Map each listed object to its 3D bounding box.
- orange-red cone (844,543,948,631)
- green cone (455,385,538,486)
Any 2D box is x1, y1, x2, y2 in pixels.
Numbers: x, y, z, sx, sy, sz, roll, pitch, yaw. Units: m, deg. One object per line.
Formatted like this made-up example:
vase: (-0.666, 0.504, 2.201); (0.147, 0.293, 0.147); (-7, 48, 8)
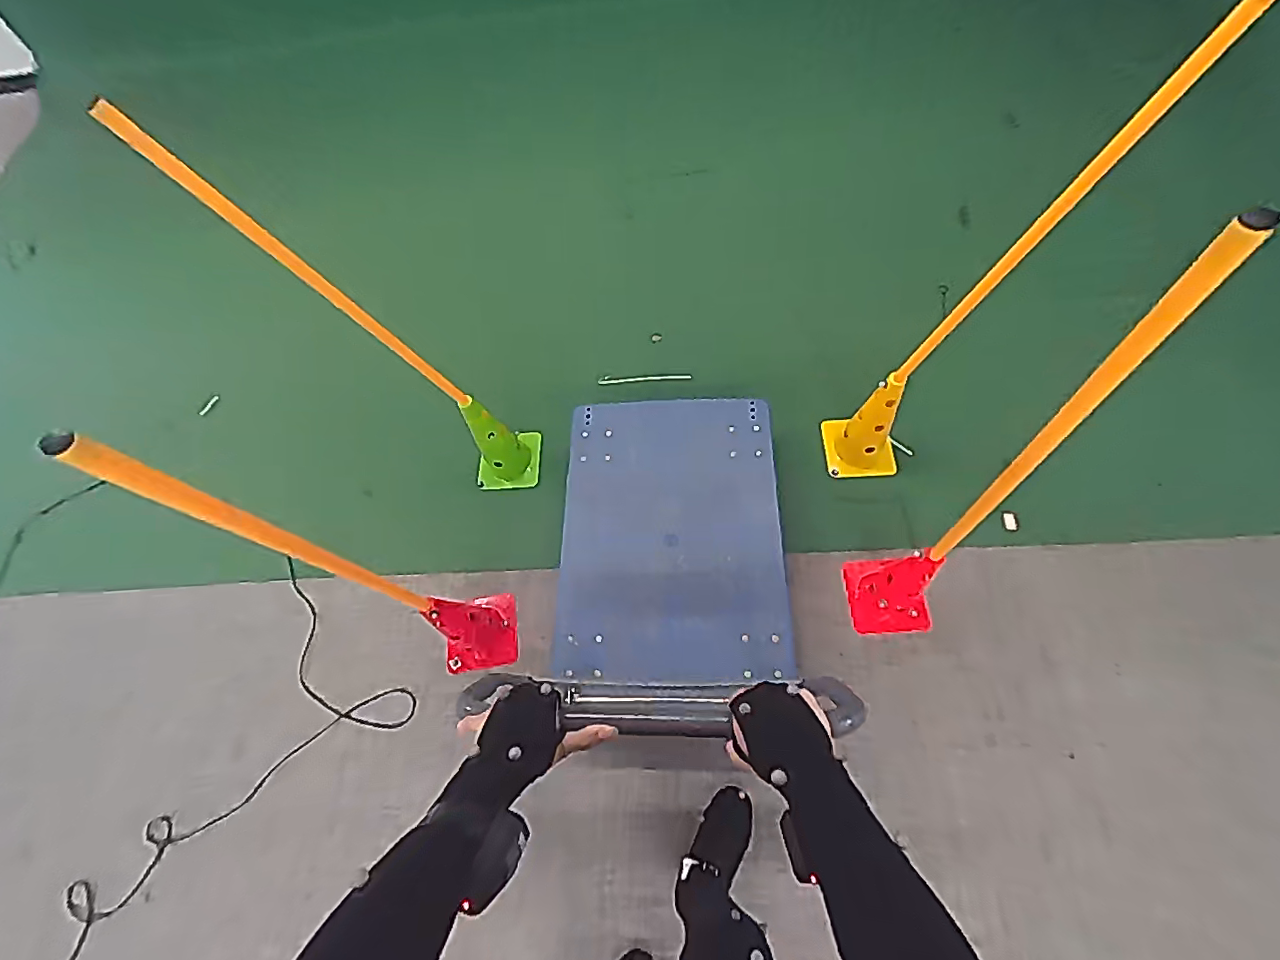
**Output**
orange-red cone: (0.642, 0.226, 1.291); (0.198, 0.360, 0.199); (-3, 63, 4)
green cone: (-0.448, -0.151, 1.586); (0.200, 0.368, 0.202); (-4, 63, 5)
